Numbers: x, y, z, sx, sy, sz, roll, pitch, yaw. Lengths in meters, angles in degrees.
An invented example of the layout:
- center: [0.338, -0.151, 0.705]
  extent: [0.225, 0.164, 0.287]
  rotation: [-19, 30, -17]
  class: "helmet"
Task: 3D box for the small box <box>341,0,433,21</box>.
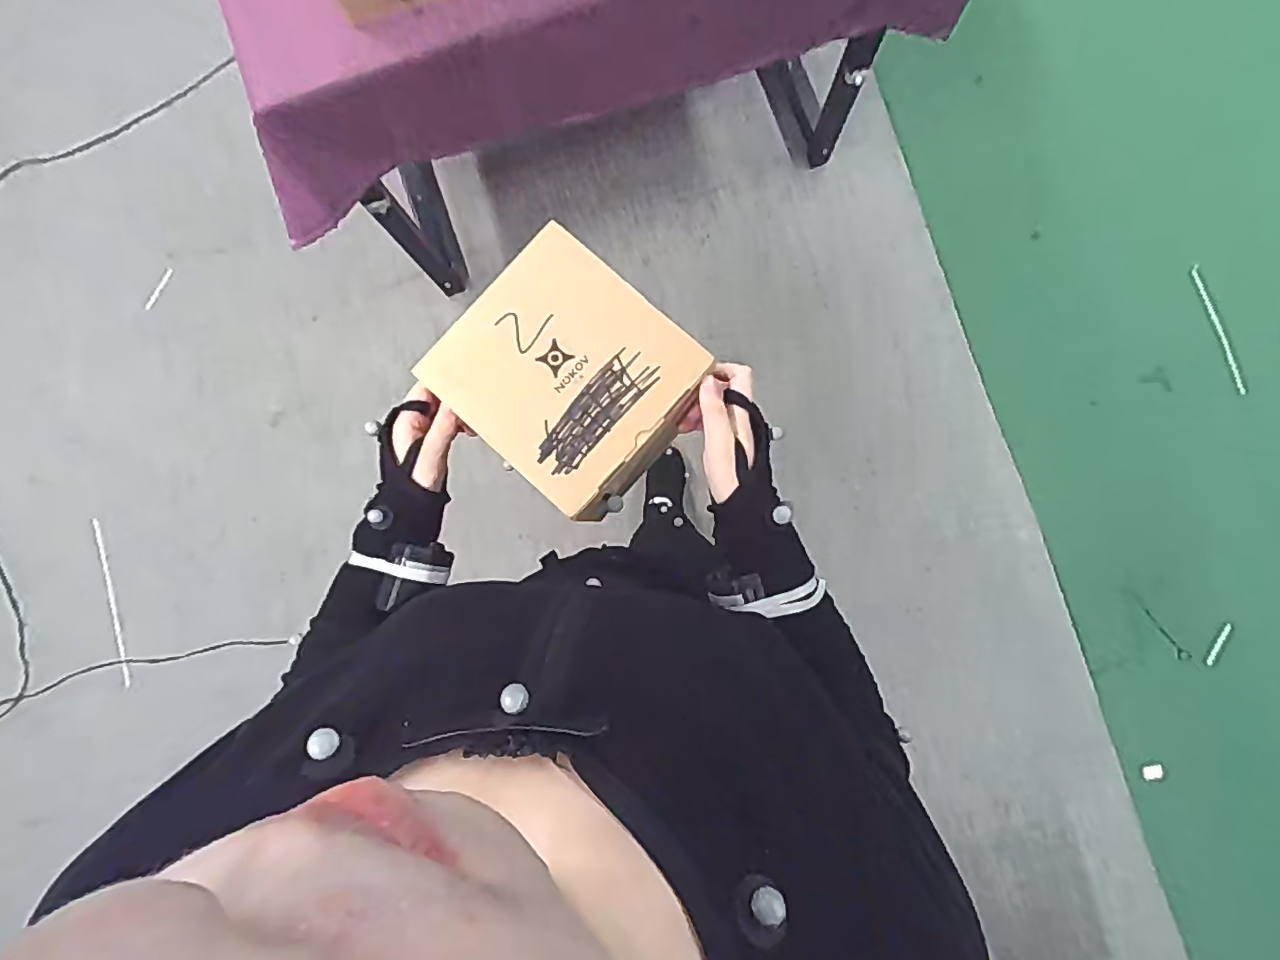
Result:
- center: [-0.391, -0.825, 0.779]
  extent: [0.179, 0.176, 0.168]
  rotation: [-17, 84, 0]
  class: "small box"
